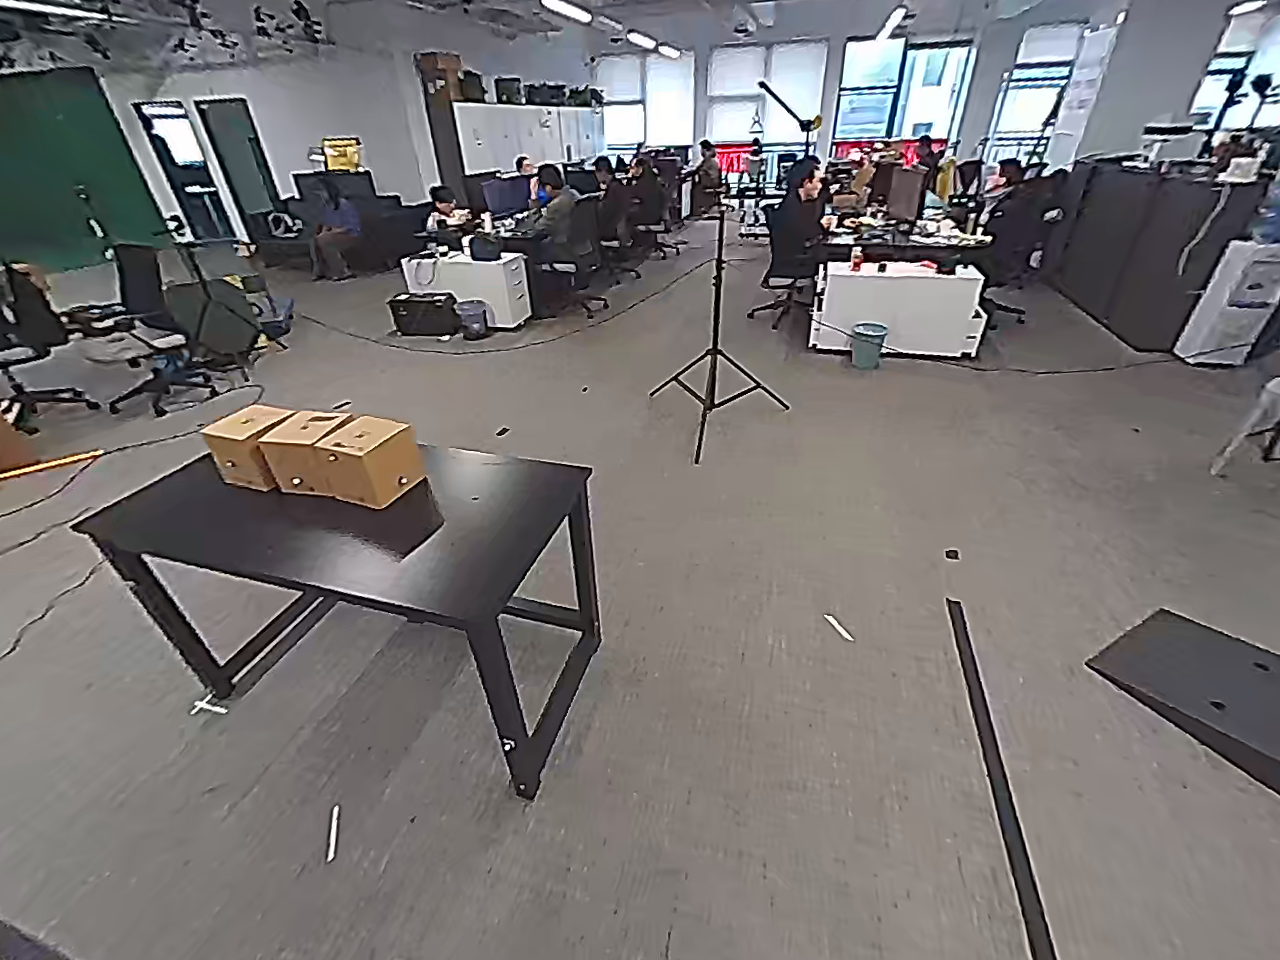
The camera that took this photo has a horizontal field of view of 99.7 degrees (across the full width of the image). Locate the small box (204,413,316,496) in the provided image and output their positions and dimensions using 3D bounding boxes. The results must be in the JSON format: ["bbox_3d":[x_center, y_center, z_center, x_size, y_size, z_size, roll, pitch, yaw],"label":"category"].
[{"bbox_3d":[-1.077,-0.073,1.551,0.168,0.176,0.179,10,35,17],"label":"small box"}]
